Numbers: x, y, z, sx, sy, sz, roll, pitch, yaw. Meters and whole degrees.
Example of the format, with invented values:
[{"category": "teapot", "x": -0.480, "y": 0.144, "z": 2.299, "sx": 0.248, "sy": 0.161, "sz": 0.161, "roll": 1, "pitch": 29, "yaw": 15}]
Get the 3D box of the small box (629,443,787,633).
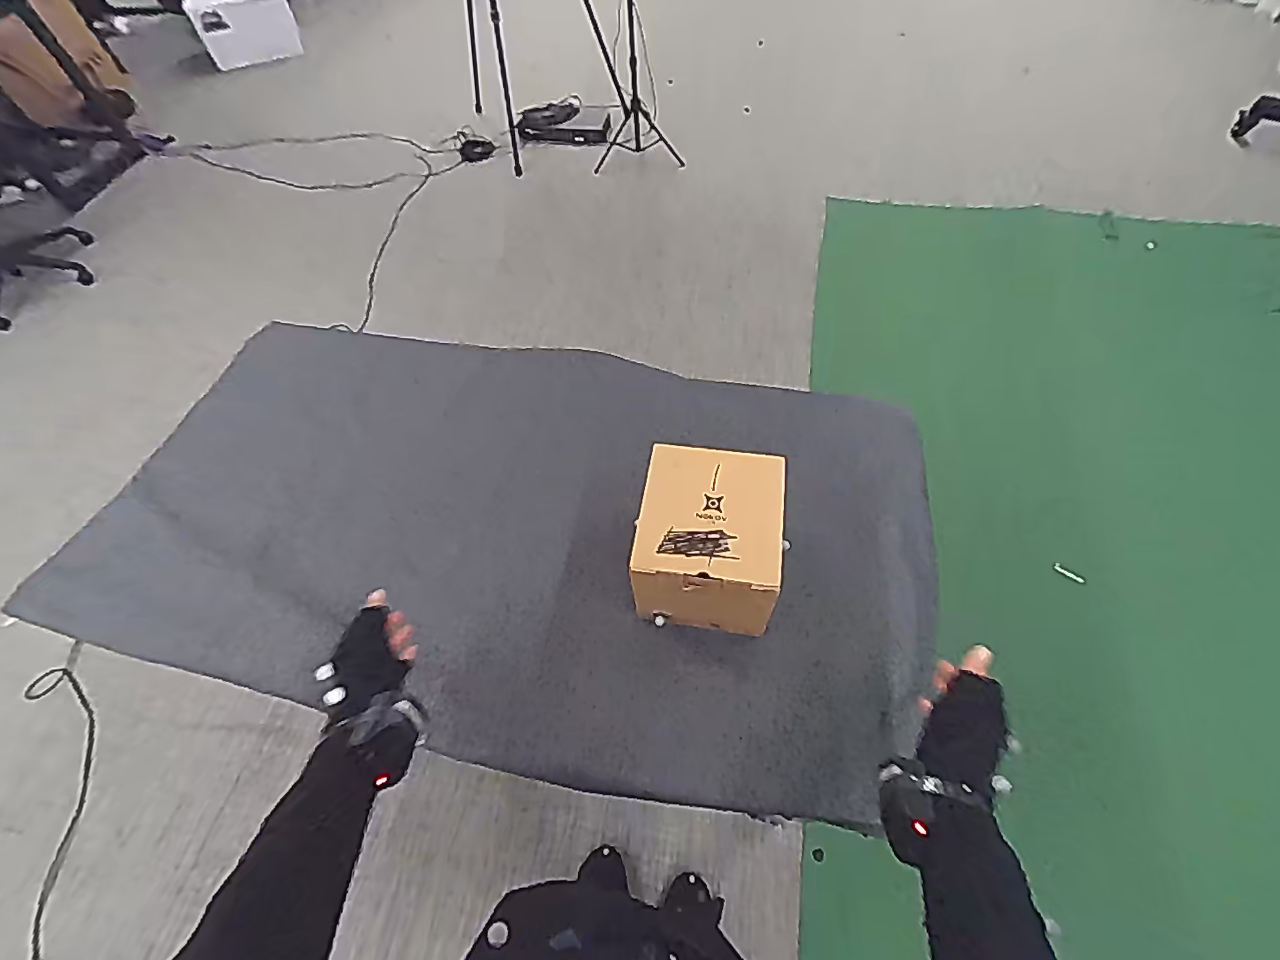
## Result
[{"category": "small box", "x": 0.088, "y": 0.078, "z": 0.686, "sx": 0.168, "sy": 0.176, "sz": 0.179, "roll": 7, "pitch": 57, "yaw": 8}]
